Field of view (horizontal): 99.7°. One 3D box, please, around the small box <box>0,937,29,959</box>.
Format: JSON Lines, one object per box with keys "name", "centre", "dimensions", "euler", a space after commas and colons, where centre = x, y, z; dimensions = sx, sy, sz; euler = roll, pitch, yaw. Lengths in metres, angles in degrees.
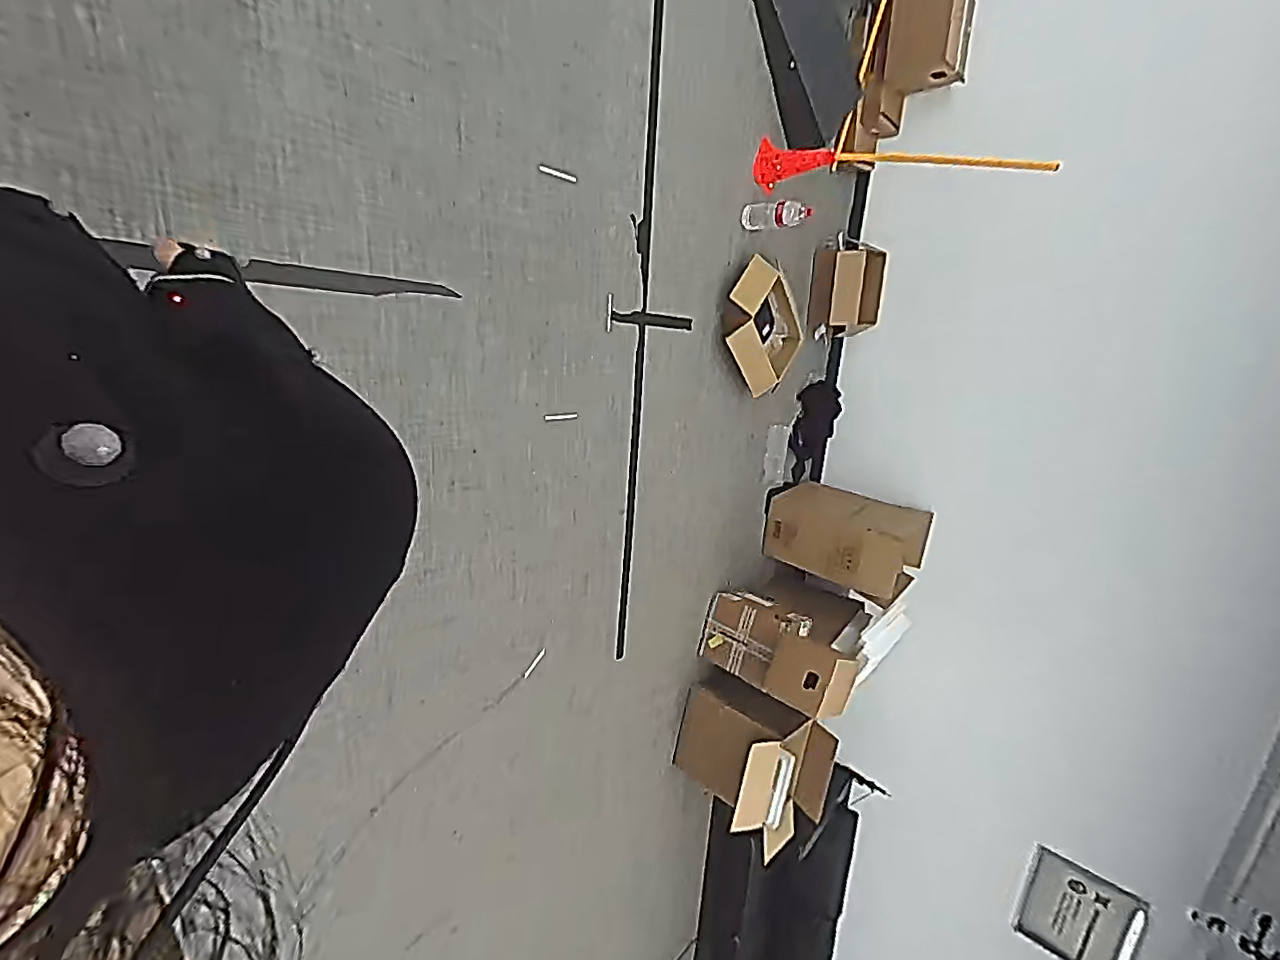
{"name": "small box", "centre": [-1.313, 1.067, 1.059], "dimensions": [0.168, 0.176, 0.179], "euler": [-22, 119, -45]}
